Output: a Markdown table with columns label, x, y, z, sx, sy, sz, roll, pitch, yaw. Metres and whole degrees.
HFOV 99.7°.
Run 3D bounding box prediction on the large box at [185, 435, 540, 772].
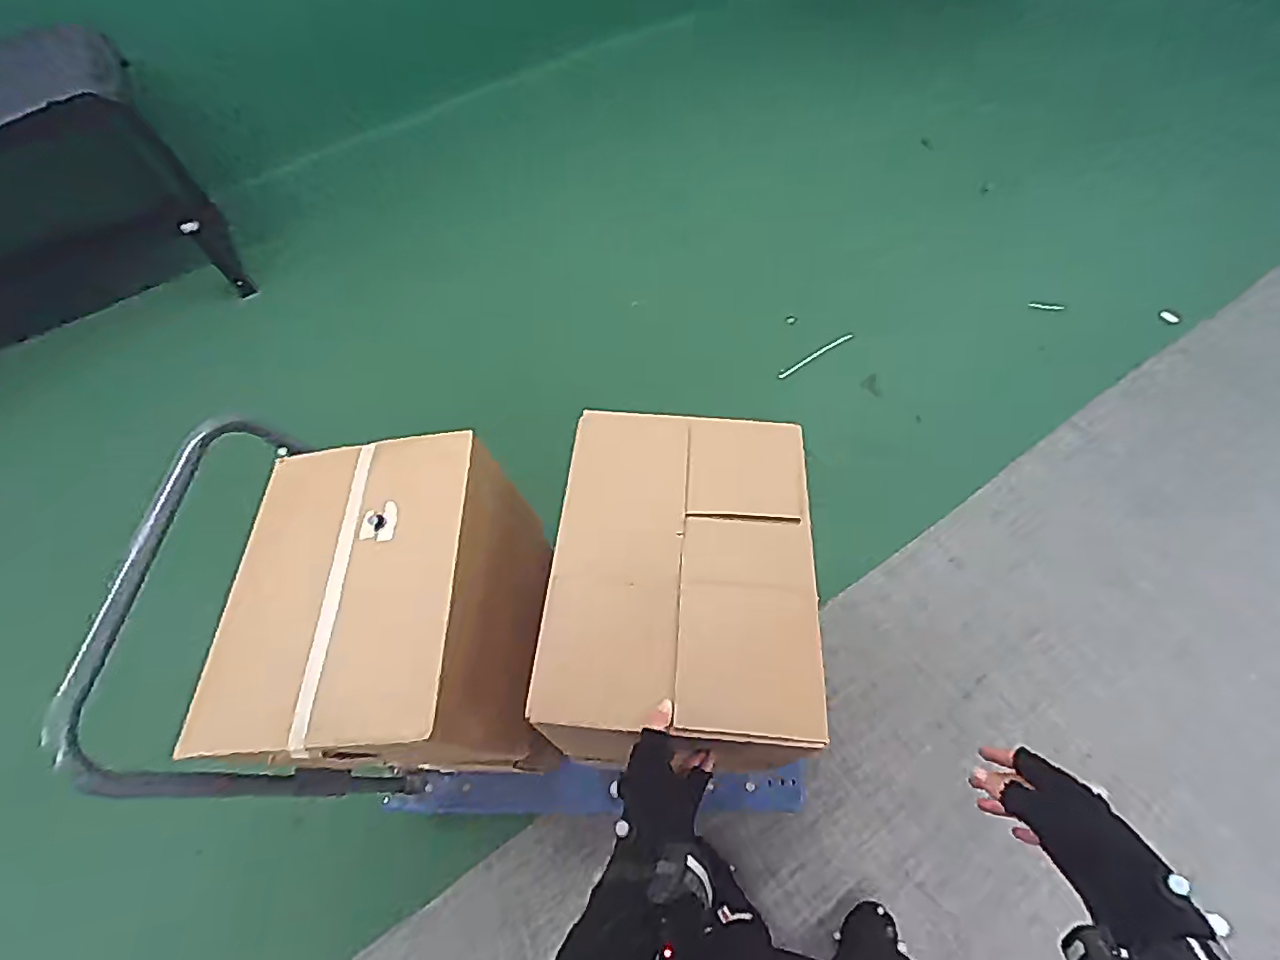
| label | x | y | z | sx | sy | sz | roll | pitch | yaw |
| --- | --- | --- | --- | --- | --- | --- | --- | --- | --- |
| large box | -0.353 | 0.199 | 0.819 | 0.320 | 0.320 | 0.408 | -7 | 58 | 7 |
